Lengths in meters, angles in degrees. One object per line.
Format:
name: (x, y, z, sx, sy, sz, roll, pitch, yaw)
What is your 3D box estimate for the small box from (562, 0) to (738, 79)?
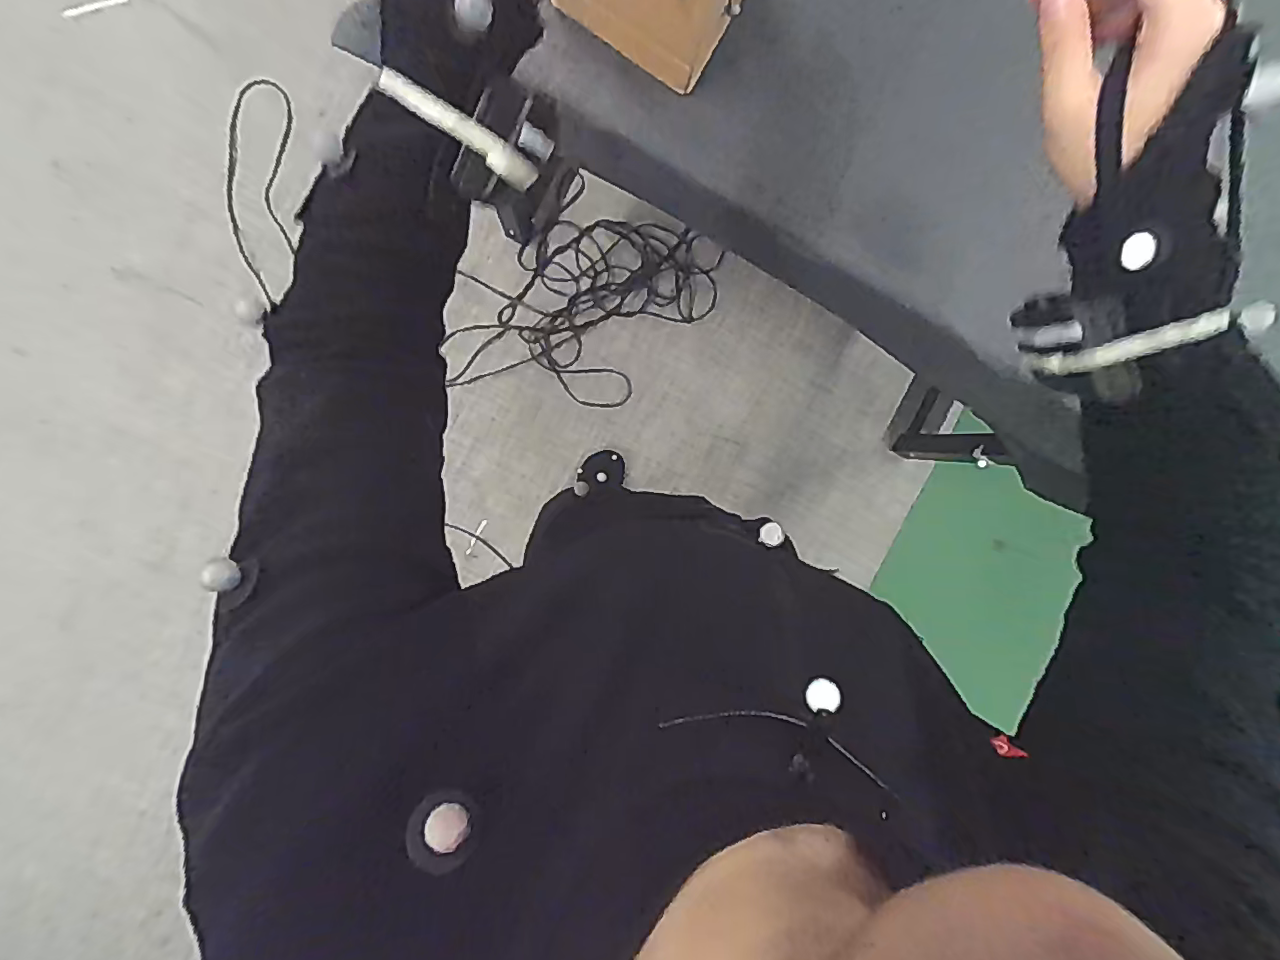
small box: (0.024, -0.536, 0.508, 0.179, 0.176, 0.168, 30, 91, -9)
